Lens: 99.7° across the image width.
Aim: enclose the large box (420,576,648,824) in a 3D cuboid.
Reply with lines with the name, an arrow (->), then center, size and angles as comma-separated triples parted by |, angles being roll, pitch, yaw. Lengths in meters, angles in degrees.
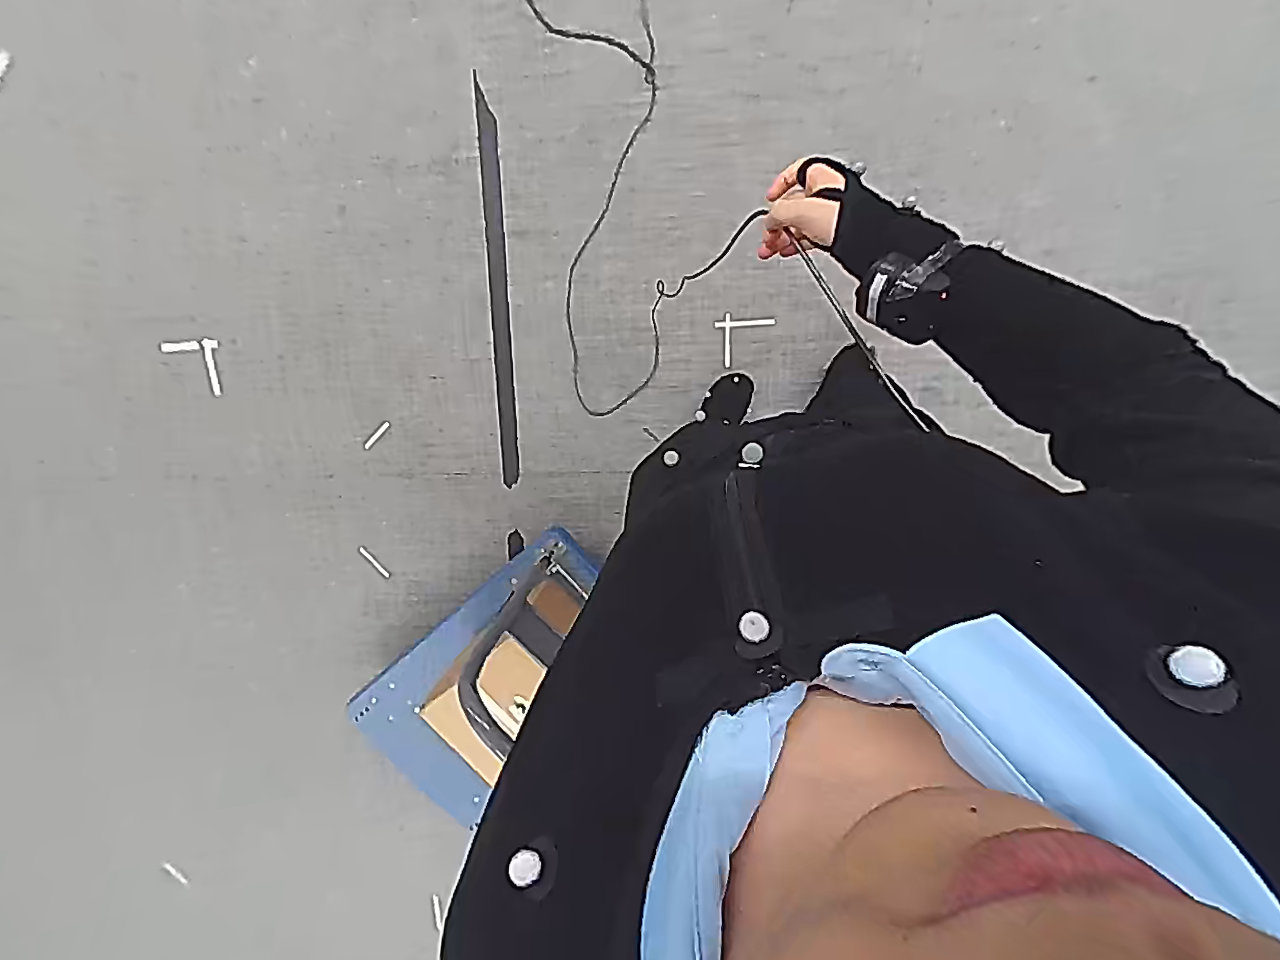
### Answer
large box -> -0.233, 0.520, 1.331 | 0.320, 0.320, 0.408 | -40, 96, 12
